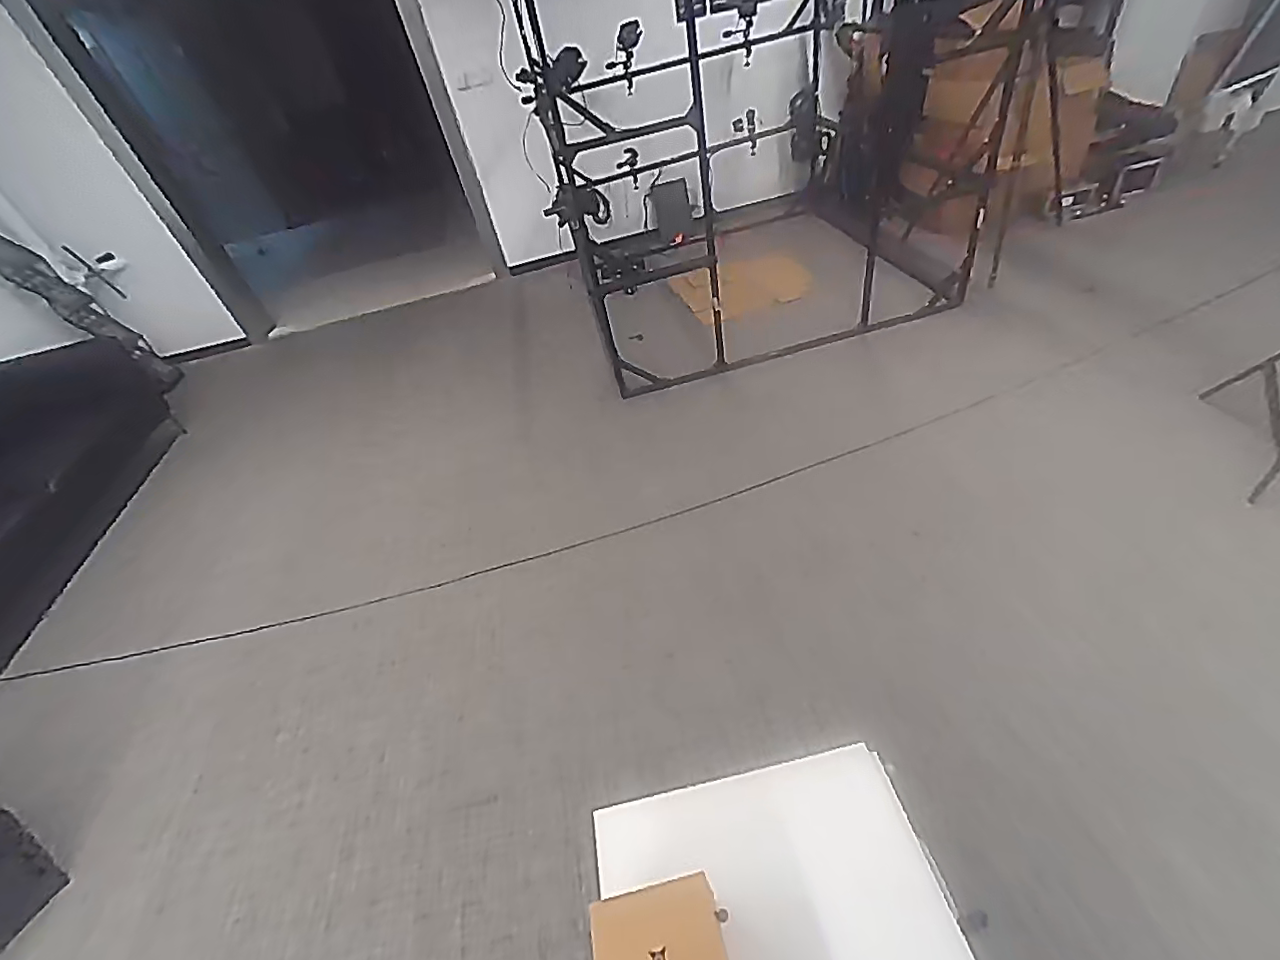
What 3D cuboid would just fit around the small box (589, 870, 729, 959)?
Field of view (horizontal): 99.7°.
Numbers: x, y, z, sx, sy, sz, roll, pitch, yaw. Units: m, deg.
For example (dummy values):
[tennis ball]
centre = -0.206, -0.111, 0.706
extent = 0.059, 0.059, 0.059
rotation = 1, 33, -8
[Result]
[small box]
centre = 0.036, 0.669, 0.730
extent = 0.168, 0.176, 0.179
rotation = -15, 42, 0
